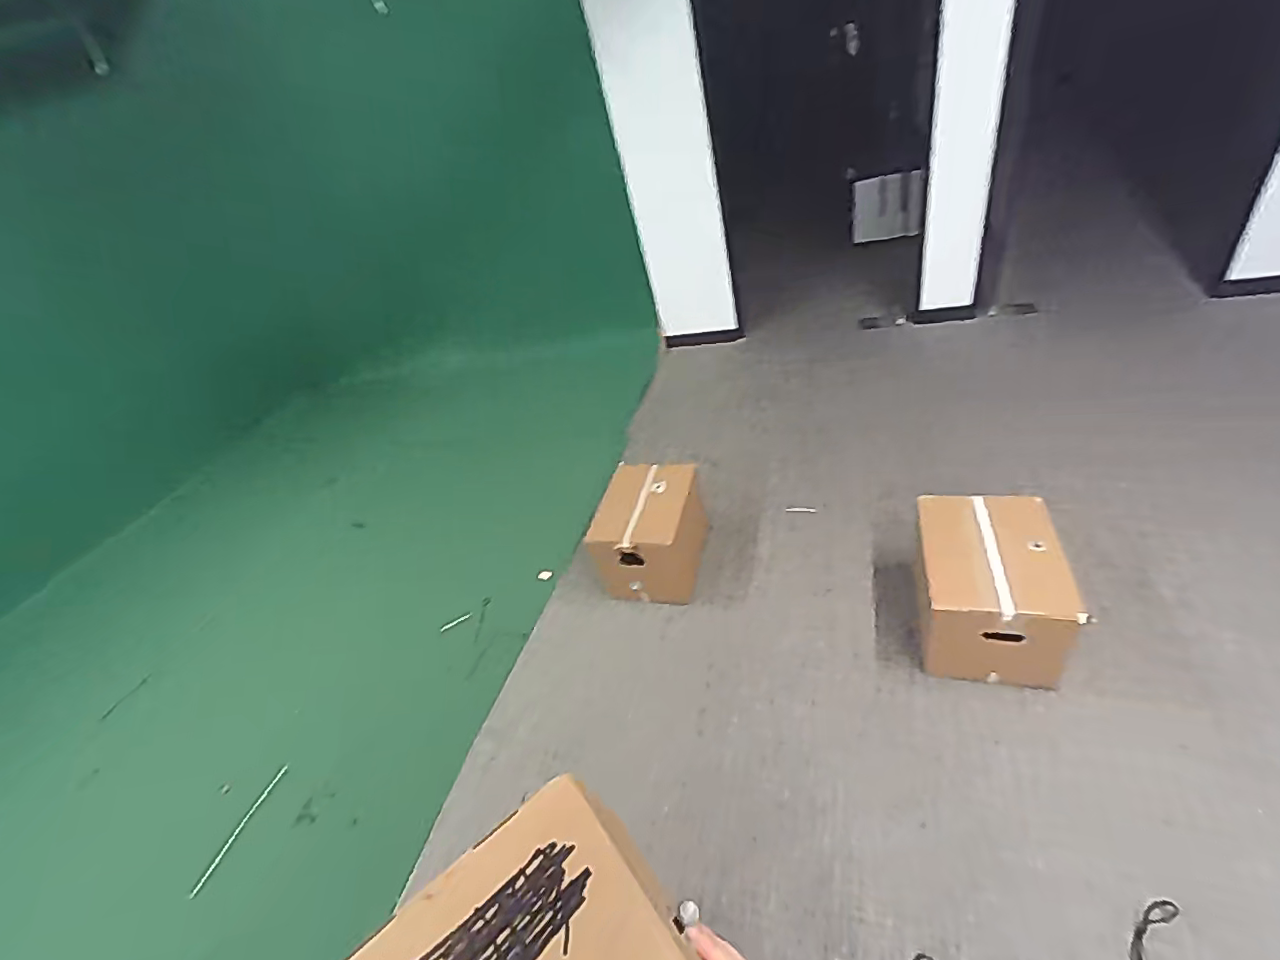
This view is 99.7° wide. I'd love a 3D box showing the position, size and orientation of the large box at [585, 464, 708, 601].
[{"bbox_3d":[0.043,0.190,1.982,0.320,0.320,0.408,-1,41,22],"label":"large box"}]
